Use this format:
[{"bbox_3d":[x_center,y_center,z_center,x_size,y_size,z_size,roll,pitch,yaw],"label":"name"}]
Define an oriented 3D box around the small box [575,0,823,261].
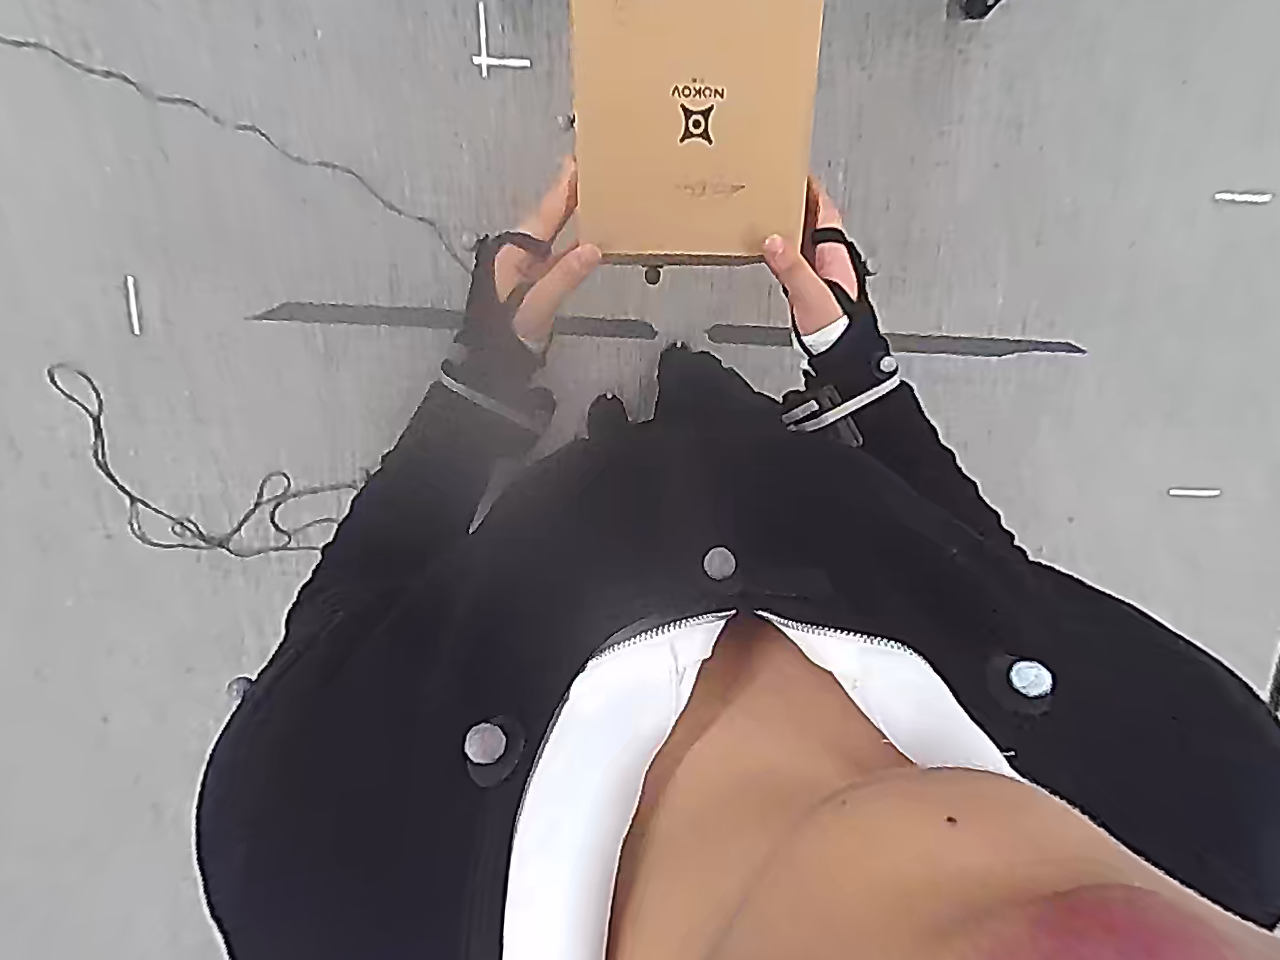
[{"bbox_3d":[0.031,-0.282,0.444,0.168,0.176,0.179,-2,109,-5],"label":"small box"}]
